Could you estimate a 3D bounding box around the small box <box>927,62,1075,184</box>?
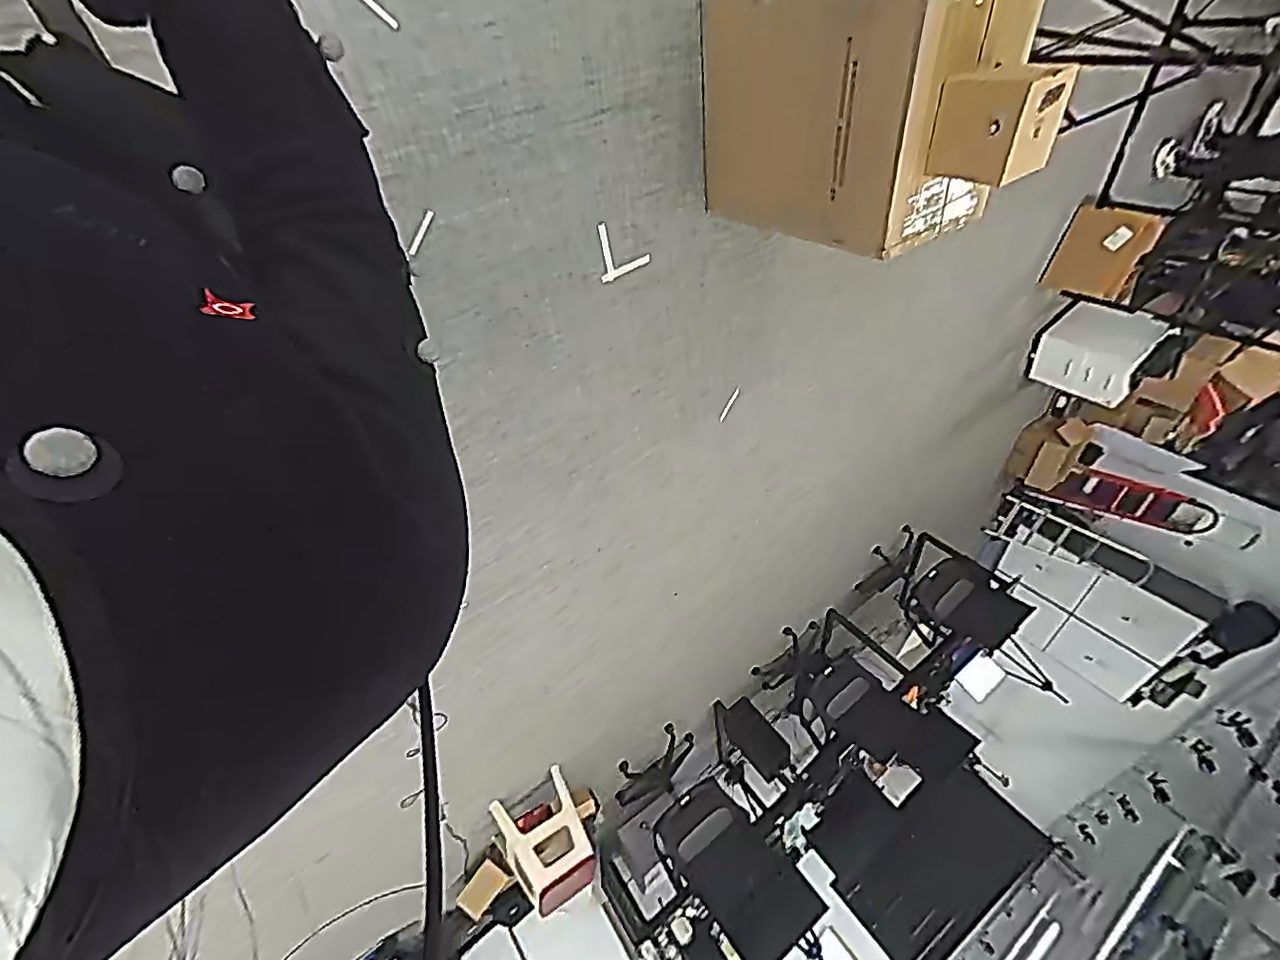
[{"bbox_3d":[0.716,-0.724,1.093,0.168,0.176,0.179,-29,137,-21],"label":"small box"}]
